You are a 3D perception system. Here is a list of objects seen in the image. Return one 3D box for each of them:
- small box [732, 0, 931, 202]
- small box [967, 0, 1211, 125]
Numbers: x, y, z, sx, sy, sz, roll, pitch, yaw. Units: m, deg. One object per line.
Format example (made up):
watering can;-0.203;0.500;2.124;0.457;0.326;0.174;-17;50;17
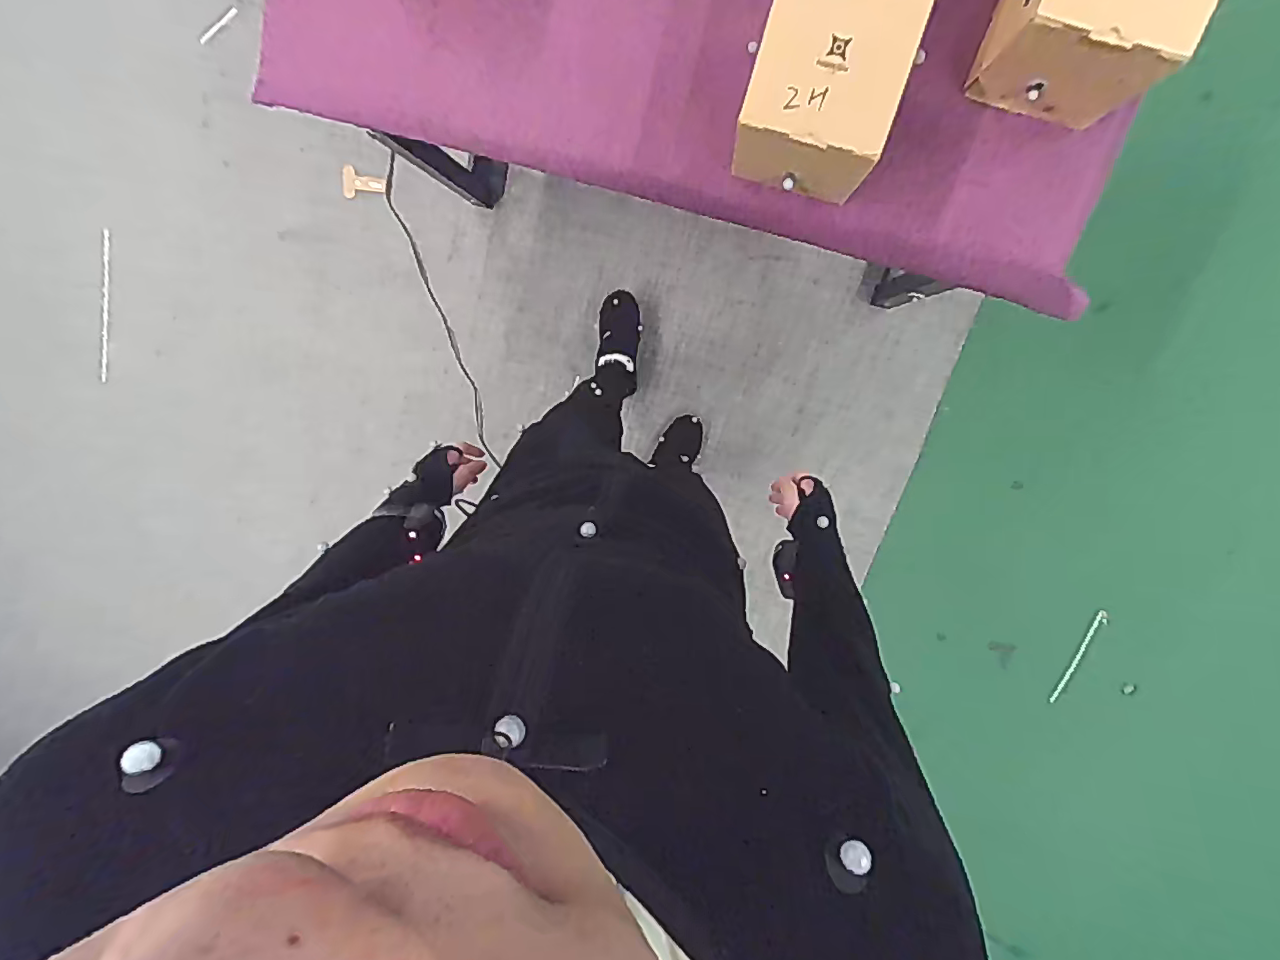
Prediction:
small box;0.217;-0.478;0.669;0.168;0.176;0.179;17;102;3
small box;0.517;-0.555;0.620;0.168;0.176;0.179;18;104;3
